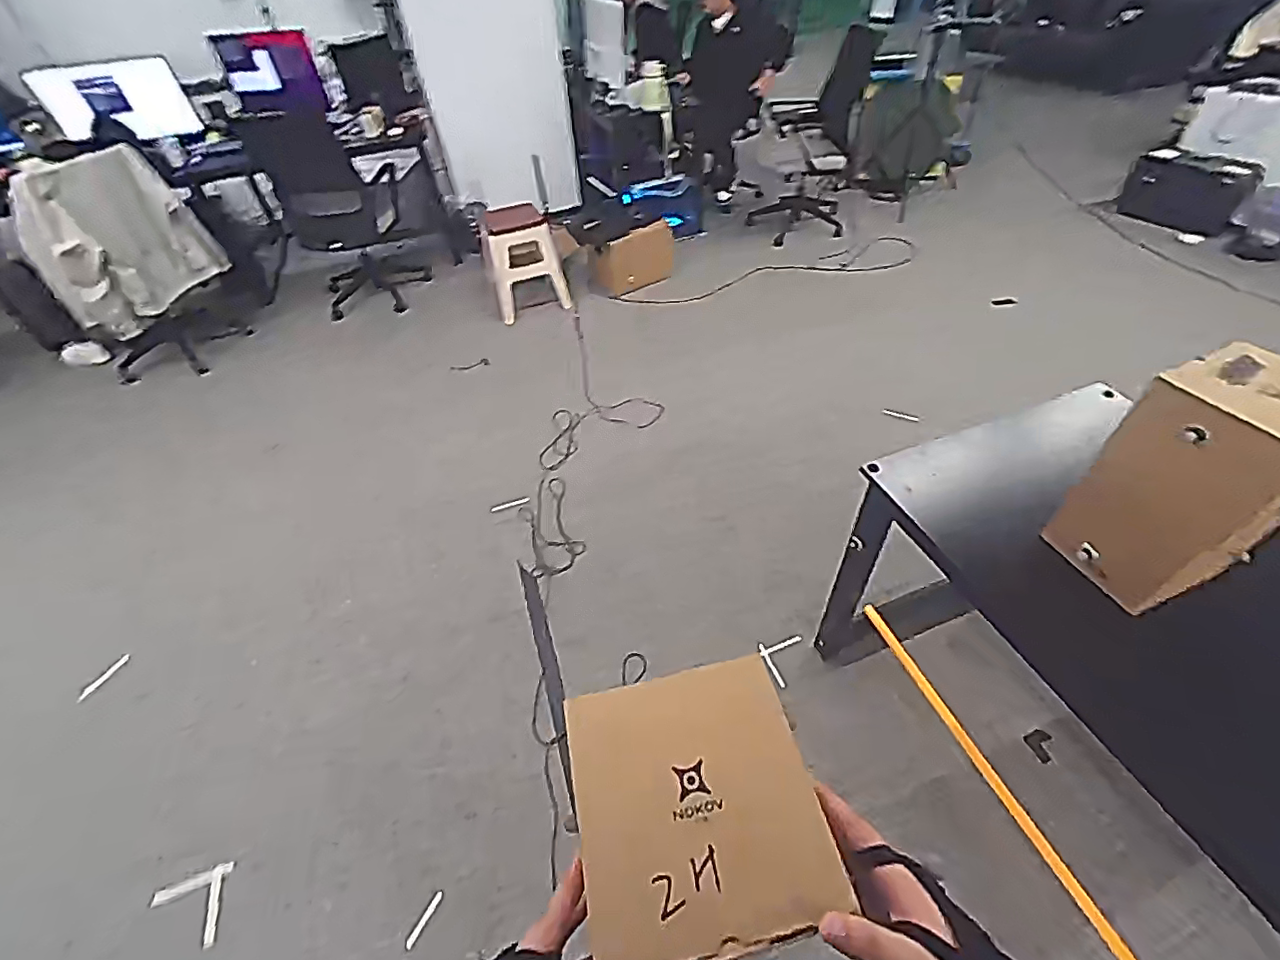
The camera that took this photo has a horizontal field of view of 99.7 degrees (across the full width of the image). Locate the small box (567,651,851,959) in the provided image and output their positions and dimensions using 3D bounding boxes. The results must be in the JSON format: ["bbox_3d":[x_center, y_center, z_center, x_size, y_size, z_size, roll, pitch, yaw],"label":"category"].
[{"bbox_3d":[0.041,0.272,0.441,0.168,0.176,0.179,-12,47,-4],"label":"small box"}]

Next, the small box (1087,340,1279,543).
[{"bbox_3d":[0.750,-0.051,0.703,0.168,0.176,0.179,-20,48,-13],"label":"small box"}]

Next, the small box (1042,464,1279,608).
[{"bbox_3d":[0.770,0.062,0.821,0.179,0.176,0.168,-20,47,-12],"label":"small box"}]
